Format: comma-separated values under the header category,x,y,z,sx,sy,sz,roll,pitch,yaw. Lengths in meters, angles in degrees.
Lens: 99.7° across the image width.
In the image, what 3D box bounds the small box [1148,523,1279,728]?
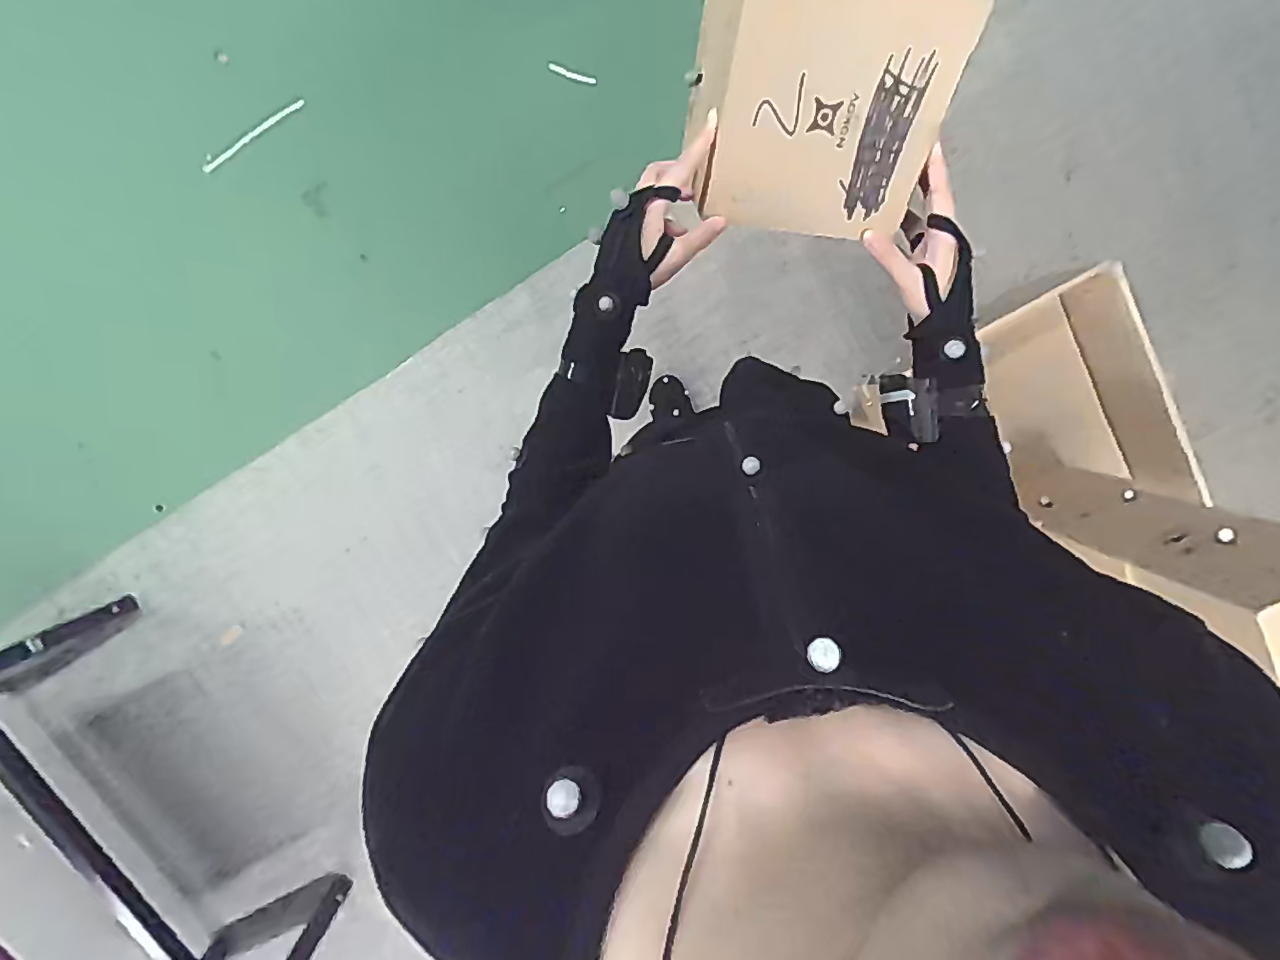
category,x,y,z,sx,sy,sz,roll,pitch,yaw
small box,0.799,0.178,0.668,0.168,0.176,0.179,-26,98,6

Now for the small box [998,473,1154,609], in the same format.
category,x,y,z,sx,sy,sz,roll,pitch,yaw
small box,0.795,0.103,0.987,0.179,0.176,0.168,-24,99,6

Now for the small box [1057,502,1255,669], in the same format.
category,x,y,z,sx,sy,sz,roll,pitch,yaw
small box,0.794,0.147,0.828,0.168,0.176,0.179,-25,99,7
